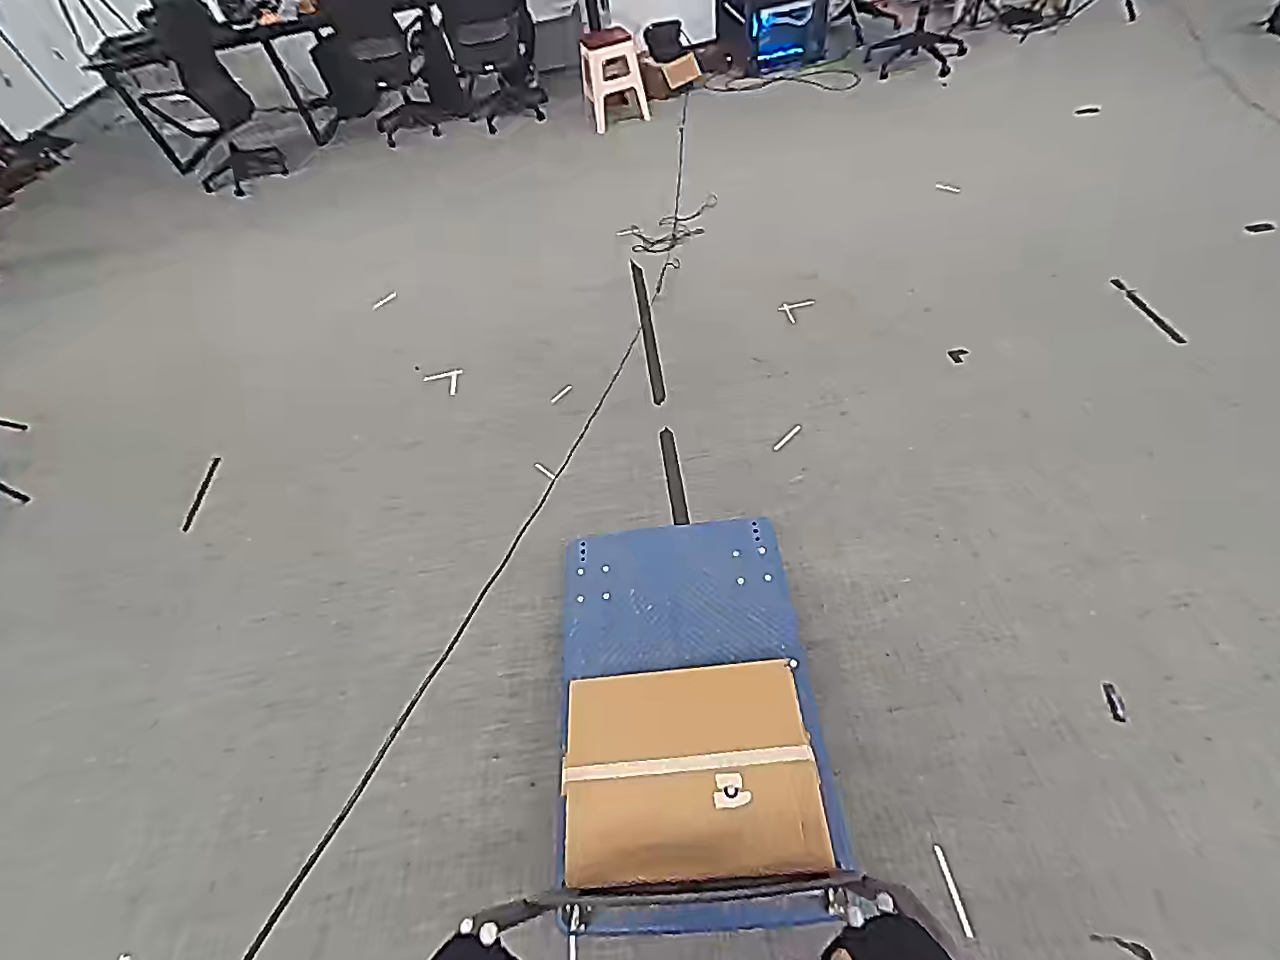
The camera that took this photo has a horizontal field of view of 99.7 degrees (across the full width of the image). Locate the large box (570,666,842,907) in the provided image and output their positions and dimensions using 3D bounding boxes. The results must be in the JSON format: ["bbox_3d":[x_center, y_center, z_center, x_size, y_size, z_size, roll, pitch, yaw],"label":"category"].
[{"bbox_3d":[0.100,0.565,0.984,0.408,0.320,0.320,-7,52,4],"label":"large box"}]
